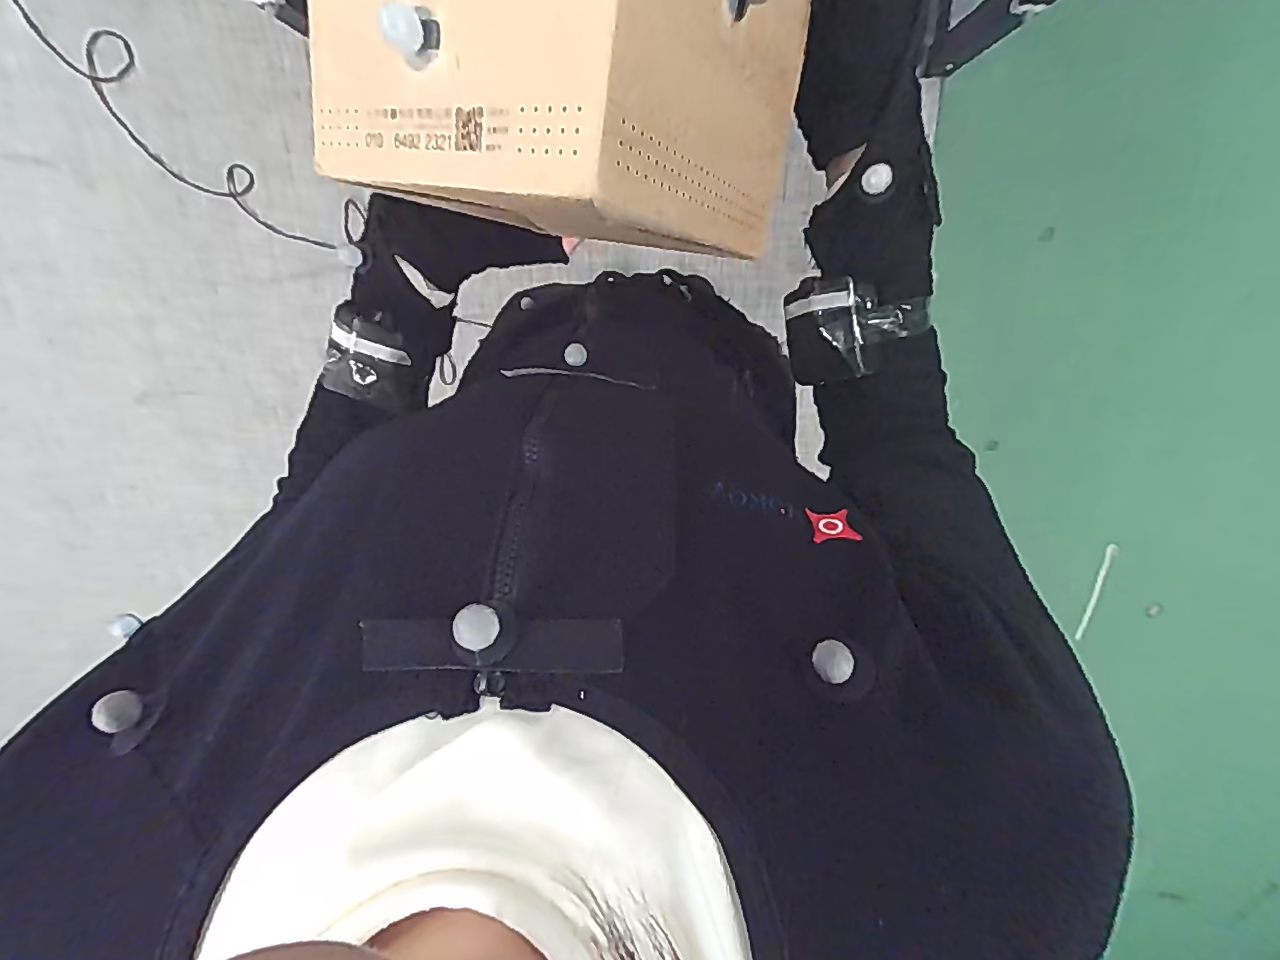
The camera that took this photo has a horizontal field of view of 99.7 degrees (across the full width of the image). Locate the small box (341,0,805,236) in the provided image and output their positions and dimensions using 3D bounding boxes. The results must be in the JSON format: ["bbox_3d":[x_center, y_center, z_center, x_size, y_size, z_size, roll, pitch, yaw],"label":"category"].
[{"bbox_3d":[-0.028,-0.227,0.273,0.168,0.179,0.176,20,114,27],"label":"small box"}]
